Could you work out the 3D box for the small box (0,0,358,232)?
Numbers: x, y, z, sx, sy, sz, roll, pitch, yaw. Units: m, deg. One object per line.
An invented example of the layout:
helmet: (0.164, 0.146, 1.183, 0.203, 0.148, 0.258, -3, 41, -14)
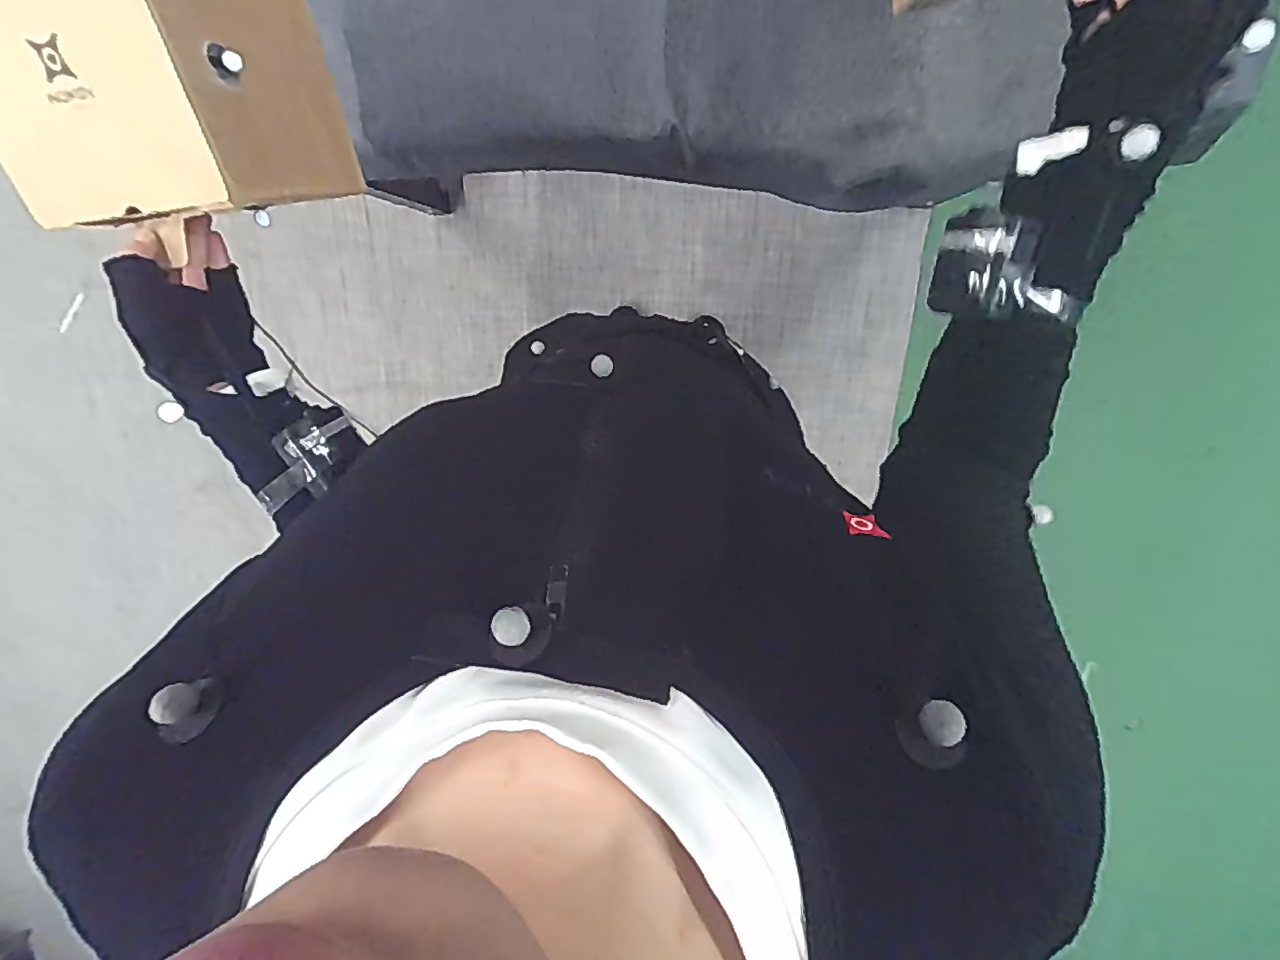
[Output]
small box: (-0.350, -0.297, 0.401, 0.168, 0.176, 0.179, -3, 120, 10)
